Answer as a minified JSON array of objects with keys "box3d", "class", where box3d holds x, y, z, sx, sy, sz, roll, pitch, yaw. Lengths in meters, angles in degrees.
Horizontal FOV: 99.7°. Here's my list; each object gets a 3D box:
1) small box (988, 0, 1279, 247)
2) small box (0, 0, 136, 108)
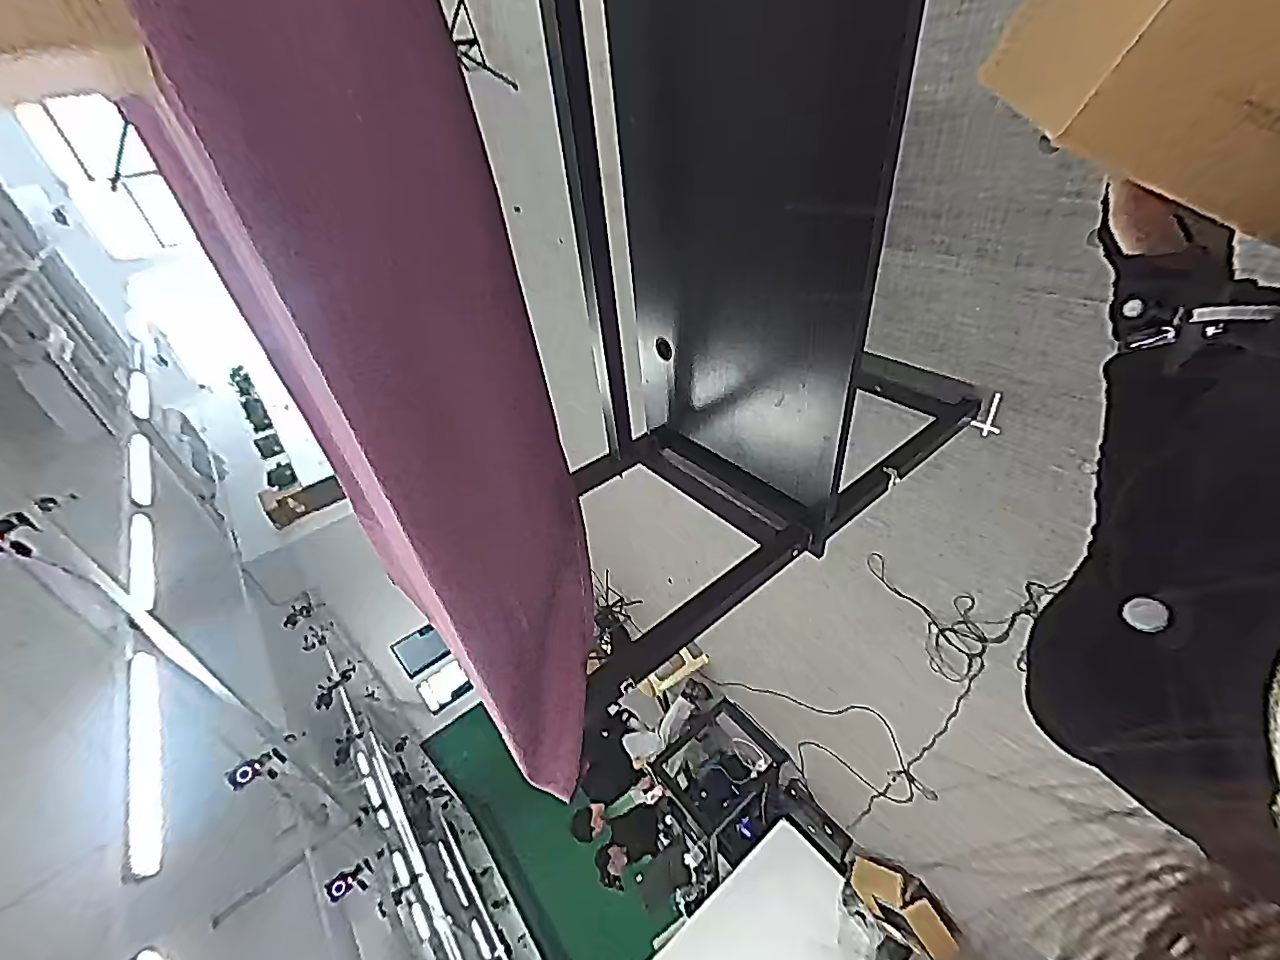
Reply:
[{"box3d":[0.330,-0.267,0.285,0.168,0.176,0.179,20,137,-8],"class":"small box"},{"box3d":[-0.410,-0.299,0.280,0.179,0.176,0.168,31,143,46],"class":"small box"}]
